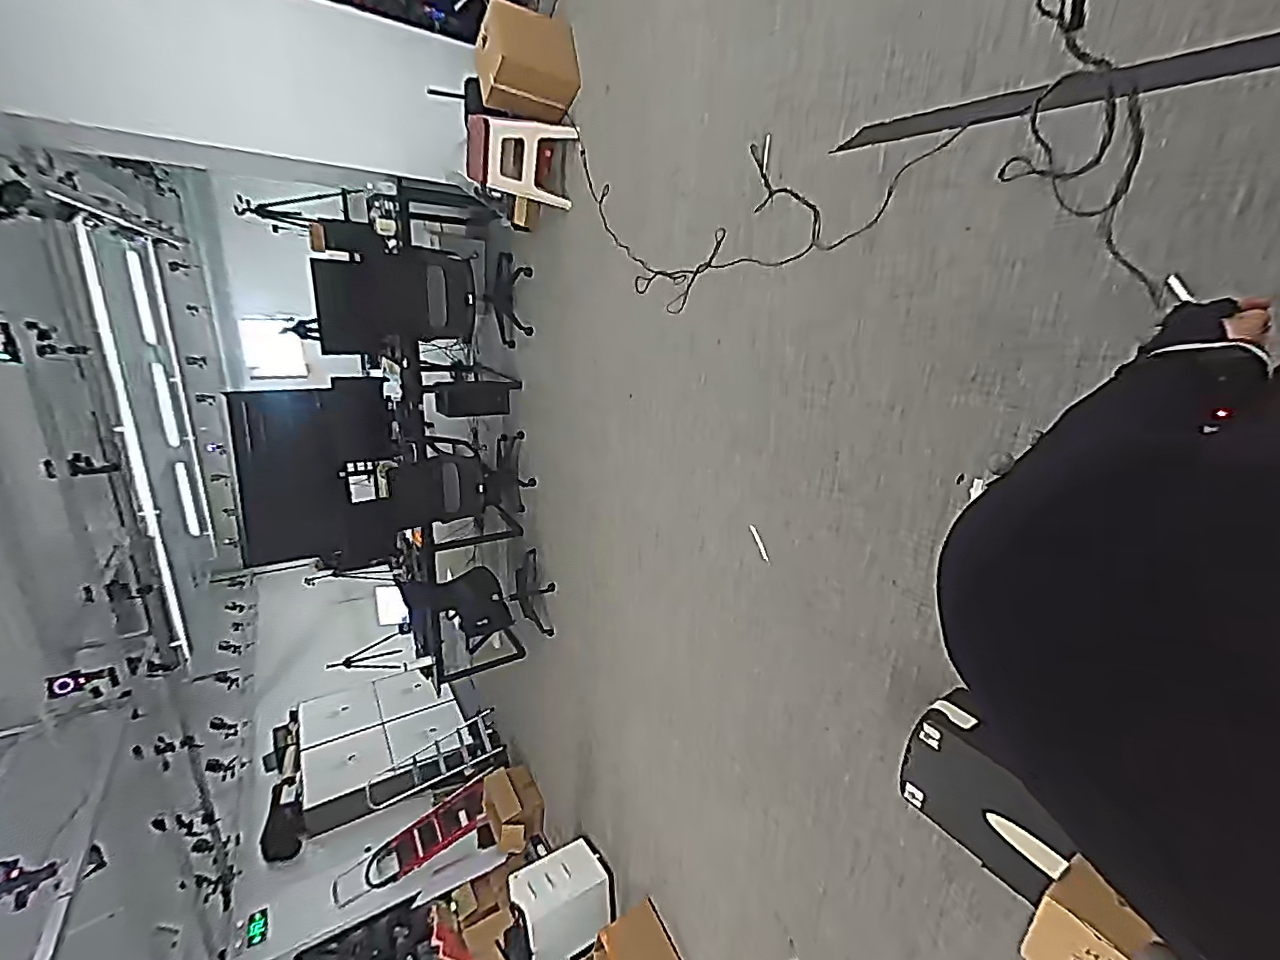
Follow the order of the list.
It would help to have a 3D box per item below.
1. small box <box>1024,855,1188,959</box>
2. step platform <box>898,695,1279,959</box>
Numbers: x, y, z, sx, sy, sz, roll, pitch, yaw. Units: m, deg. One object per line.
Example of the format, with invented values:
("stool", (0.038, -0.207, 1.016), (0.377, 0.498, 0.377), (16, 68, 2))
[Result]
("small box", (0.868, 0.862, 1.009), (0.168, 0.176, 0.179), (30, 122, 51))
("step platform", (0.941, 0.816, 1.213), (0.684, 0.204, 0.286), (29, 122, 51))
